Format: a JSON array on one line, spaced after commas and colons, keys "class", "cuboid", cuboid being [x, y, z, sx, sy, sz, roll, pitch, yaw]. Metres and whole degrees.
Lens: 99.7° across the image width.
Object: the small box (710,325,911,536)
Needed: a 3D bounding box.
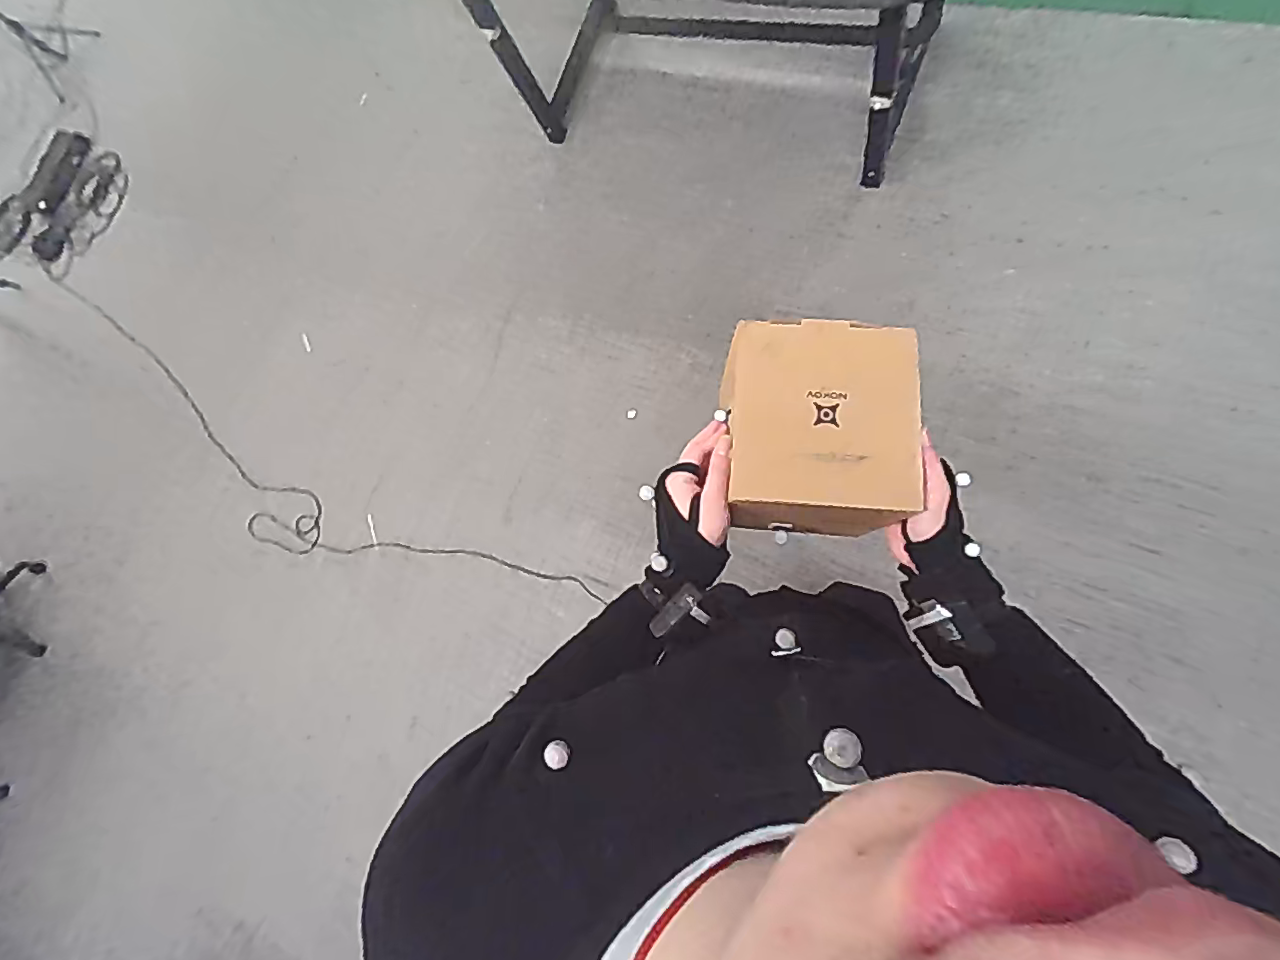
[{"class": "small box", "cuboid": [0.165, -0.042, 0.572, 0.168, 0.176, 0.179, 3, 78, 4]}]
